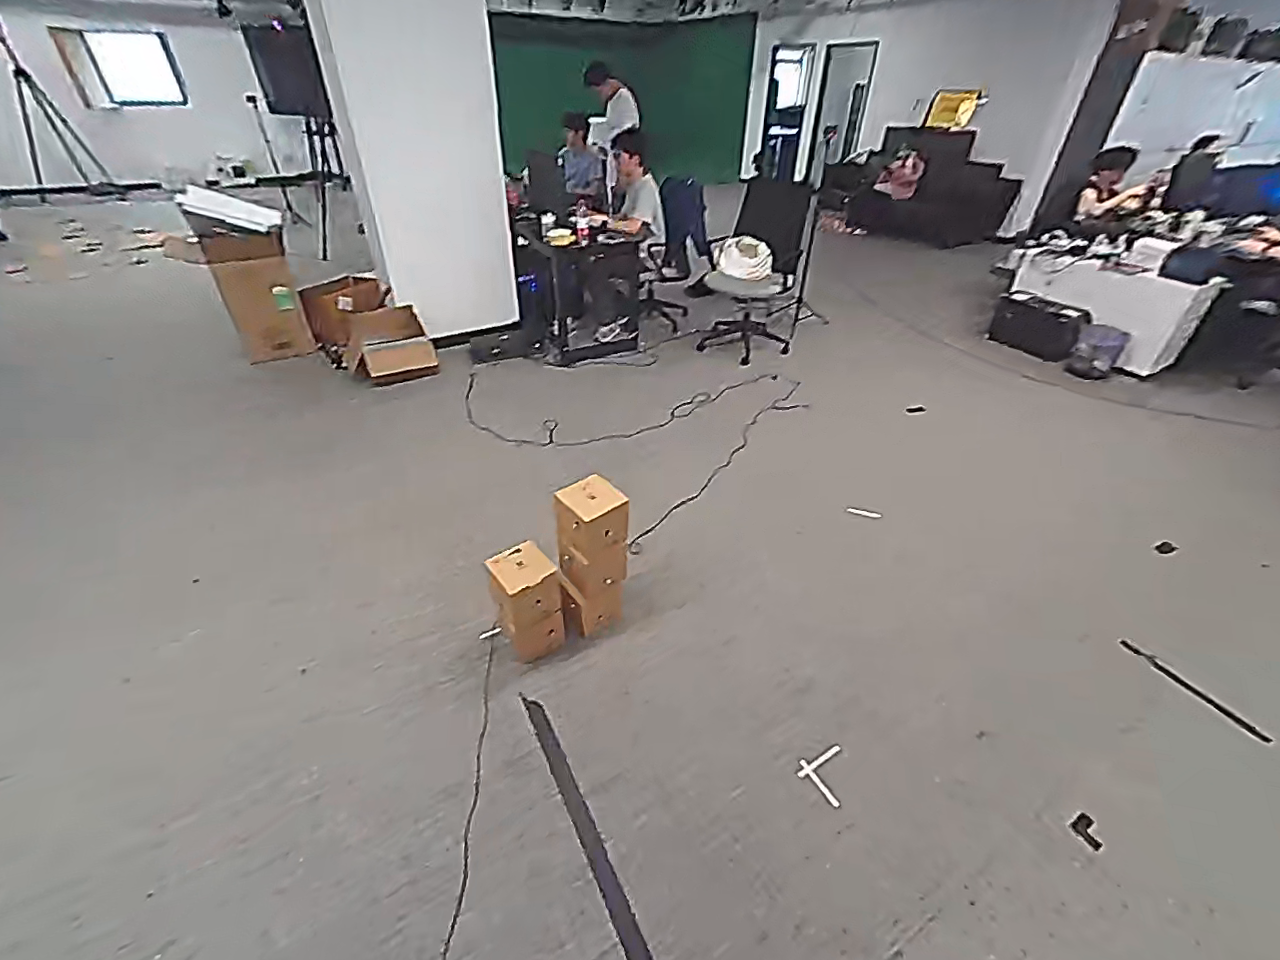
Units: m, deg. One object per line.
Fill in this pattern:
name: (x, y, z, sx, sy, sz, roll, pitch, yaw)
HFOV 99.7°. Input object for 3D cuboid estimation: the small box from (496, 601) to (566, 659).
small box: (-0.357, 0.466, 1.790, 0.168, 0.176, 0.179, -21, 41, -28)

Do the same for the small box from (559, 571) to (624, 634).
small box: (-0.172, 0.400, 1.882, 0.168, 0.176, 0.179, -25, 44, -31)

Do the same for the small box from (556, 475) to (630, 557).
small box: (-0.146, 0.119, 1.708, 0.168, 0.176, 0.179, -27, 45, -33)

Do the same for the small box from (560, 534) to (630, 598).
small box: (-0.151, 0.257, 1.799, 0.168, 0.176, 0.179, -25, 45, -30)

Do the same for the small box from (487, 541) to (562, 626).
small box: (-0.358, 0.331, 1.697, 0.168, 0.176, 0.179, -24, 44, -31)
